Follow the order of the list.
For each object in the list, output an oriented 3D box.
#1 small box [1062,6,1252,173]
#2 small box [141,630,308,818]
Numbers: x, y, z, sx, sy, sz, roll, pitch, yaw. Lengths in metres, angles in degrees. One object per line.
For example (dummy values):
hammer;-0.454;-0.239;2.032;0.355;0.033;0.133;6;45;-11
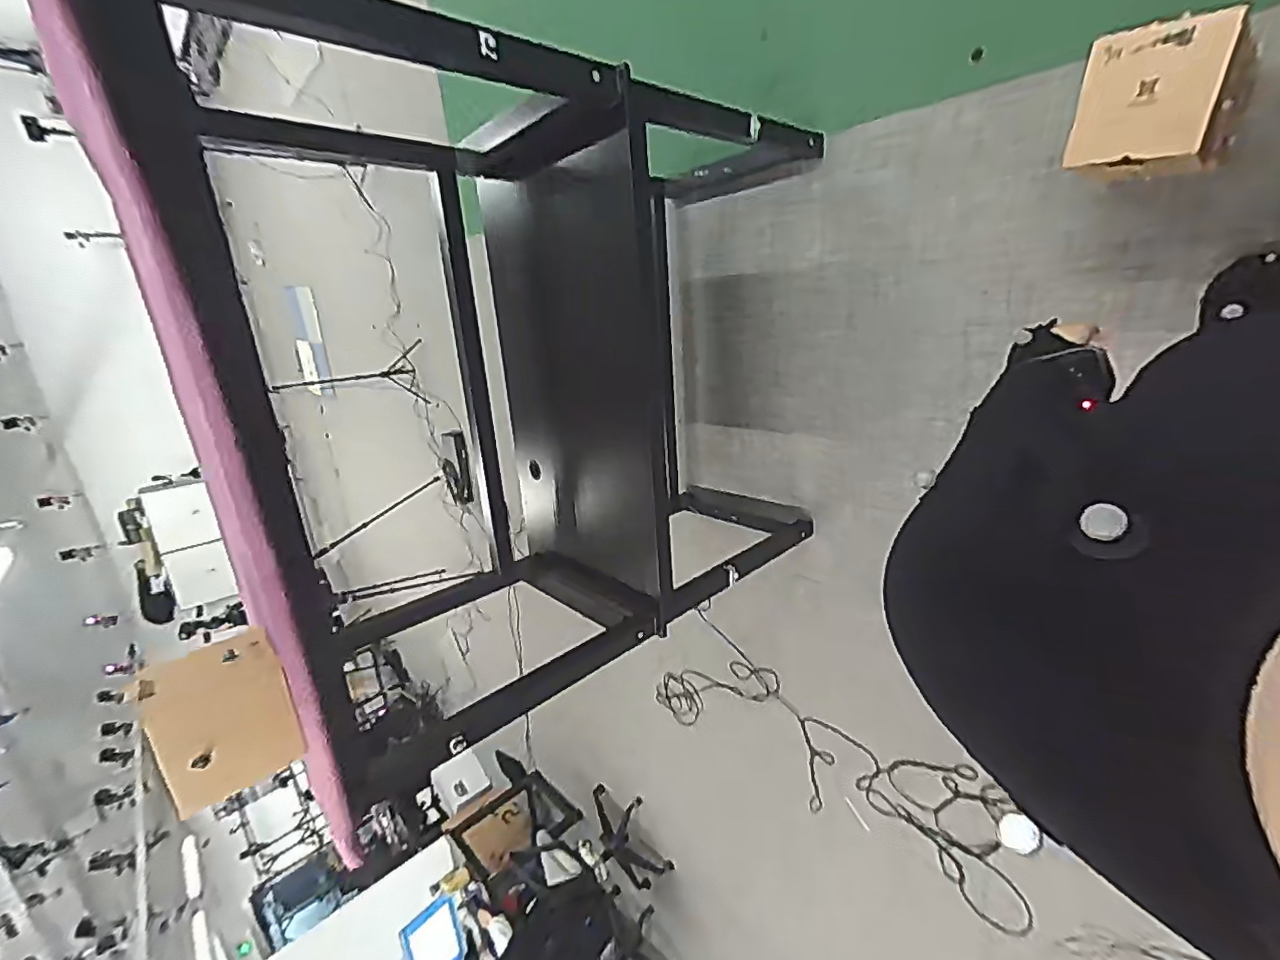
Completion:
small box;0.802;-0.586;0.841;0.168;0.176;0.179;24;122;44
small box;-0.649;0.370;0.854;0.168;0.176;0.179;13;114;45
